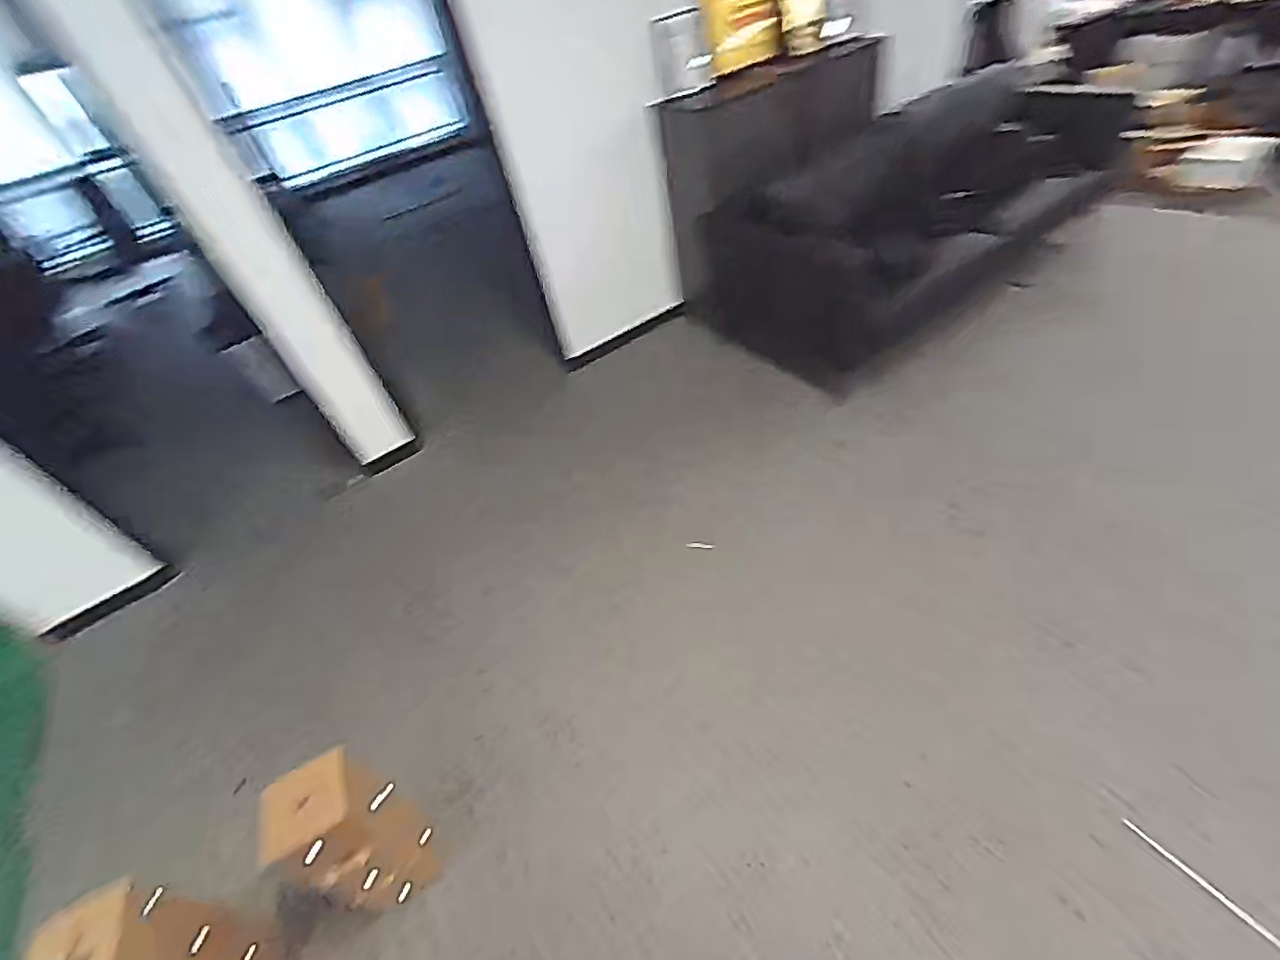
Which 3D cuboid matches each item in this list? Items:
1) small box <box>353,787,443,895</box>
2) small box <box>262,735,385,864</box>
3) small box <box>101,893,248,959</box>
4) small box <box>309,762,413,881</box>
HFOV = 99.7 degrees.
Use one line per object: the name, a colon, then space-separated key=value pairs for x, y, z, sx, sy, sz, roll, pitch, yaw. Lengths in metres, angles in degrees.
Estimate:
small box: x=-0.647 y=0.959 z=1.431 sx=0.168 sy=0.176 sz=0.179 roll=-29 pitch=46 yaw=-16
small box: x=-0.704 y=0.720 z=1.214 sx=0.179 sy=0.176 sz=0.168 roll=-25 pitch=45 yaw=-13
small box: x=-1.051 y=1.049 z=1.216 sx=0.179 sy=0.176 sz=0.168 roll=-5 pitch=46 yaw=10
small box: x=-0.681 y=0.837 z=1.325 sx=0.168 sy=0.176 sz=0.179 roll=-26 pitch=45 yaw=-12
